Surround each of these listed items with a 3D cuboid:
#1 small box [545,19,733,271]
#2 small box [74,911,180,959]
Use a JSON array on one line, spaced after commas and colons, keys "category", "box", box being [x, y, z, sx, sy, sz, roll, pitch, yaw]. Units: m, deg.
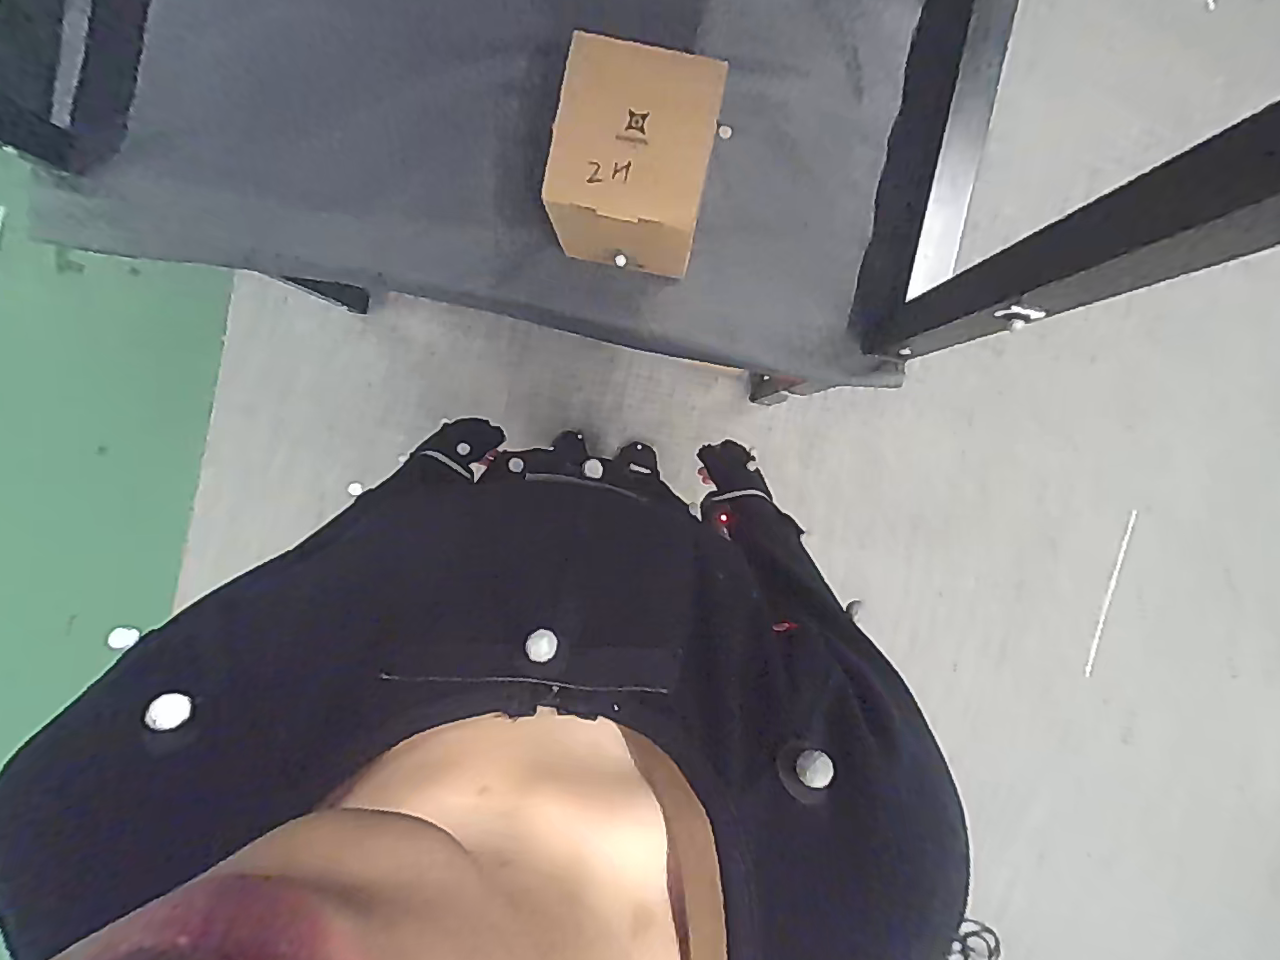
[{"category": "small box", "box": [-0.001, -0.374, 0.636, 0.168, 0.176, 0.179, 12, 93, 1]}, {"category": "small box", "box": [-1.431, 1.359, 1.498, 0.168, 0.176, 0.179, 13, 93, -1]}]
